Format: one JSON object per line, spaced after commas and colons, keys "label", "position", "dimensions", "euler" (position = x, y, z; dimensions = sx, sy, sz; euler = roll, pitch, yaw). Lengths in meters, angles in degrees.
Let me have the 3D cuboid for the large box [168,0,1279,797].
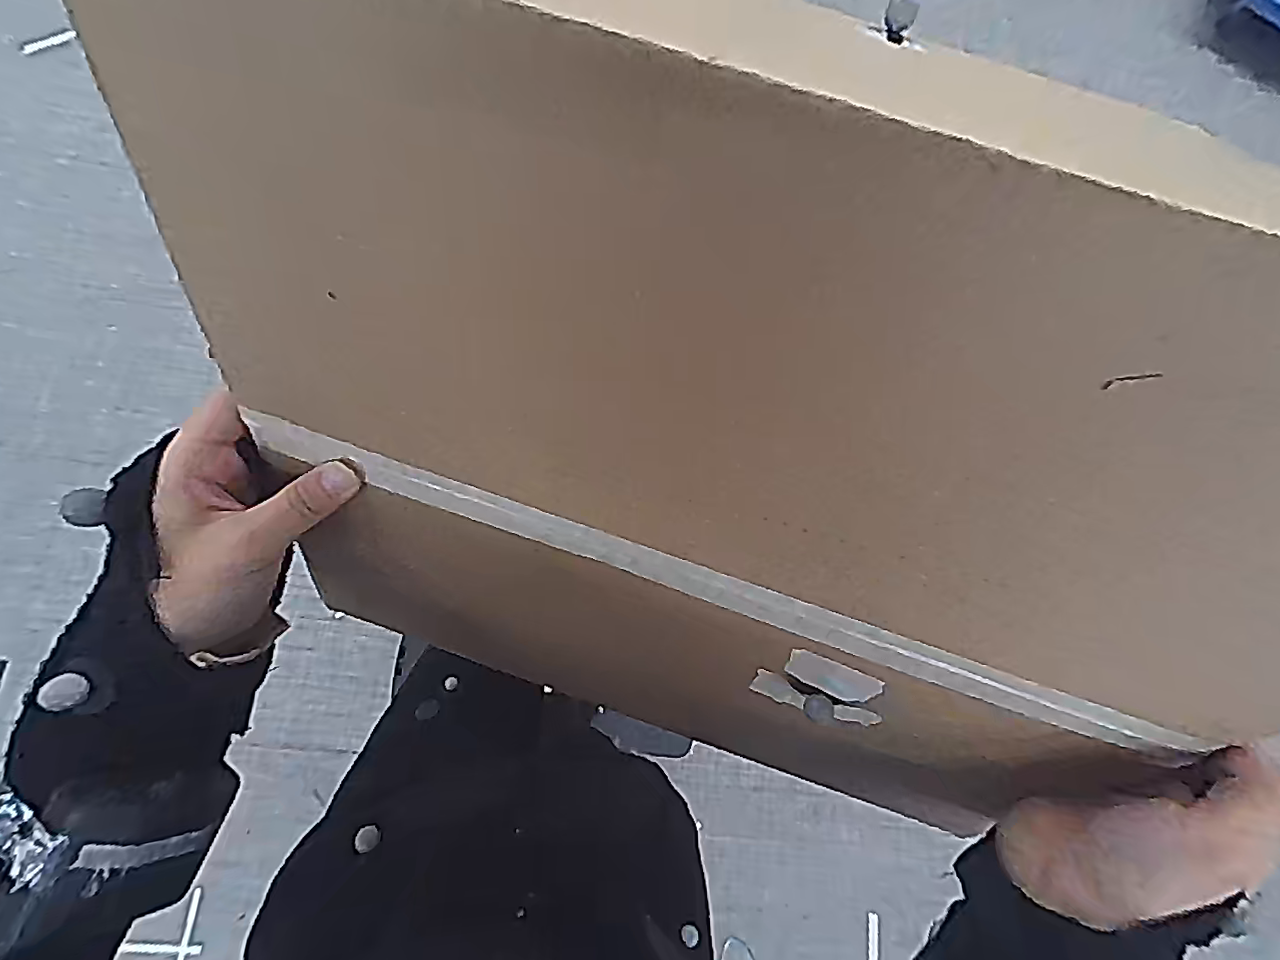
{"label": "large box", "position": [0.081, -0.084, 0.314], "dimensions": [0.408, 0.320, 0.320], "euler": [18, 46, 2]}
